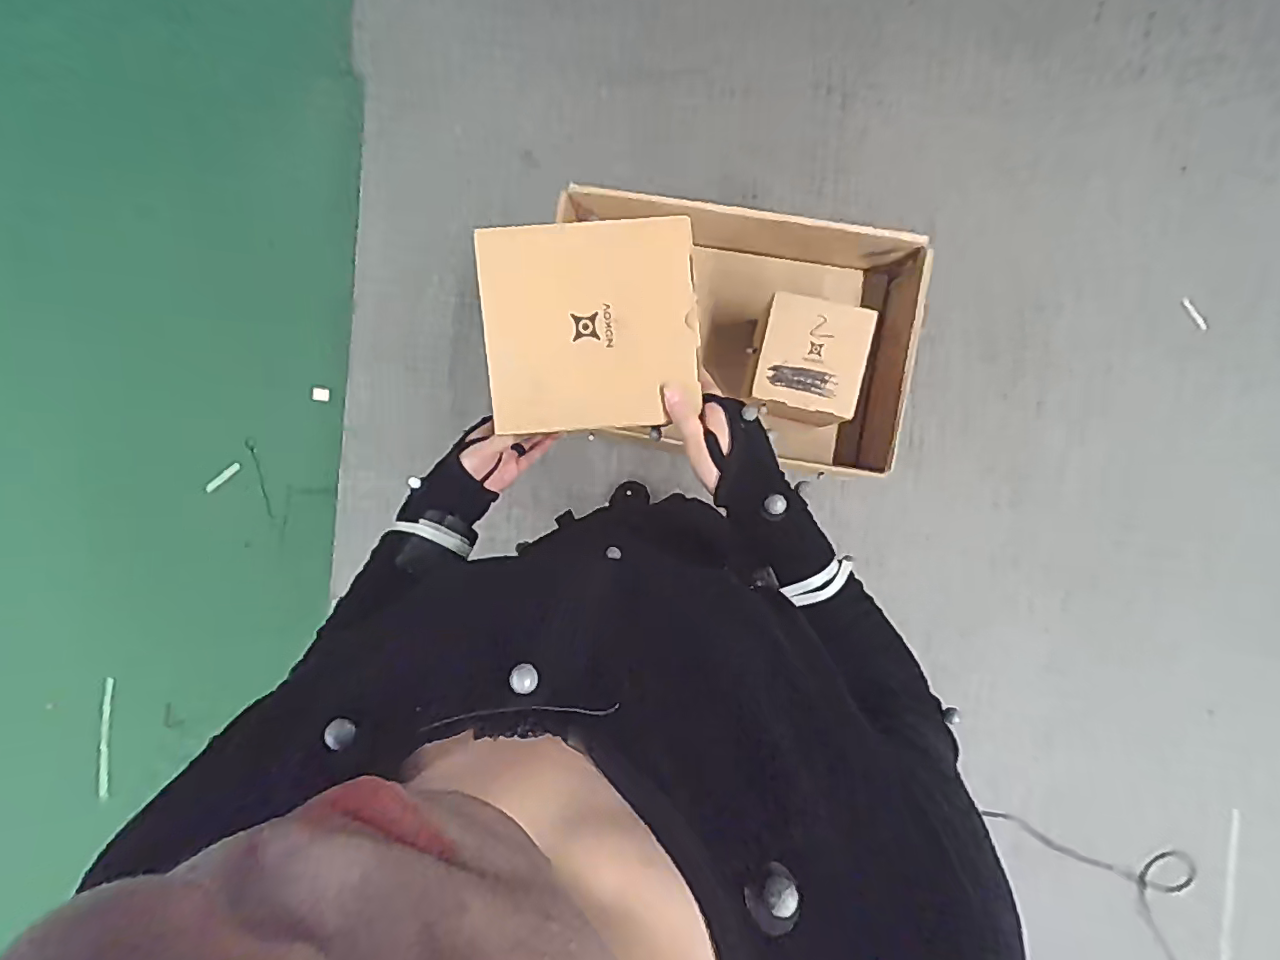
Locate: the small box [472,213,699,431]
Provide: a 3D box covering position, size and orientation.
[{"bbox_3d":[-0.046,-0.136,0.521,0.179,0.176,0.168,-6,96,-3],"label":"small box"}]
